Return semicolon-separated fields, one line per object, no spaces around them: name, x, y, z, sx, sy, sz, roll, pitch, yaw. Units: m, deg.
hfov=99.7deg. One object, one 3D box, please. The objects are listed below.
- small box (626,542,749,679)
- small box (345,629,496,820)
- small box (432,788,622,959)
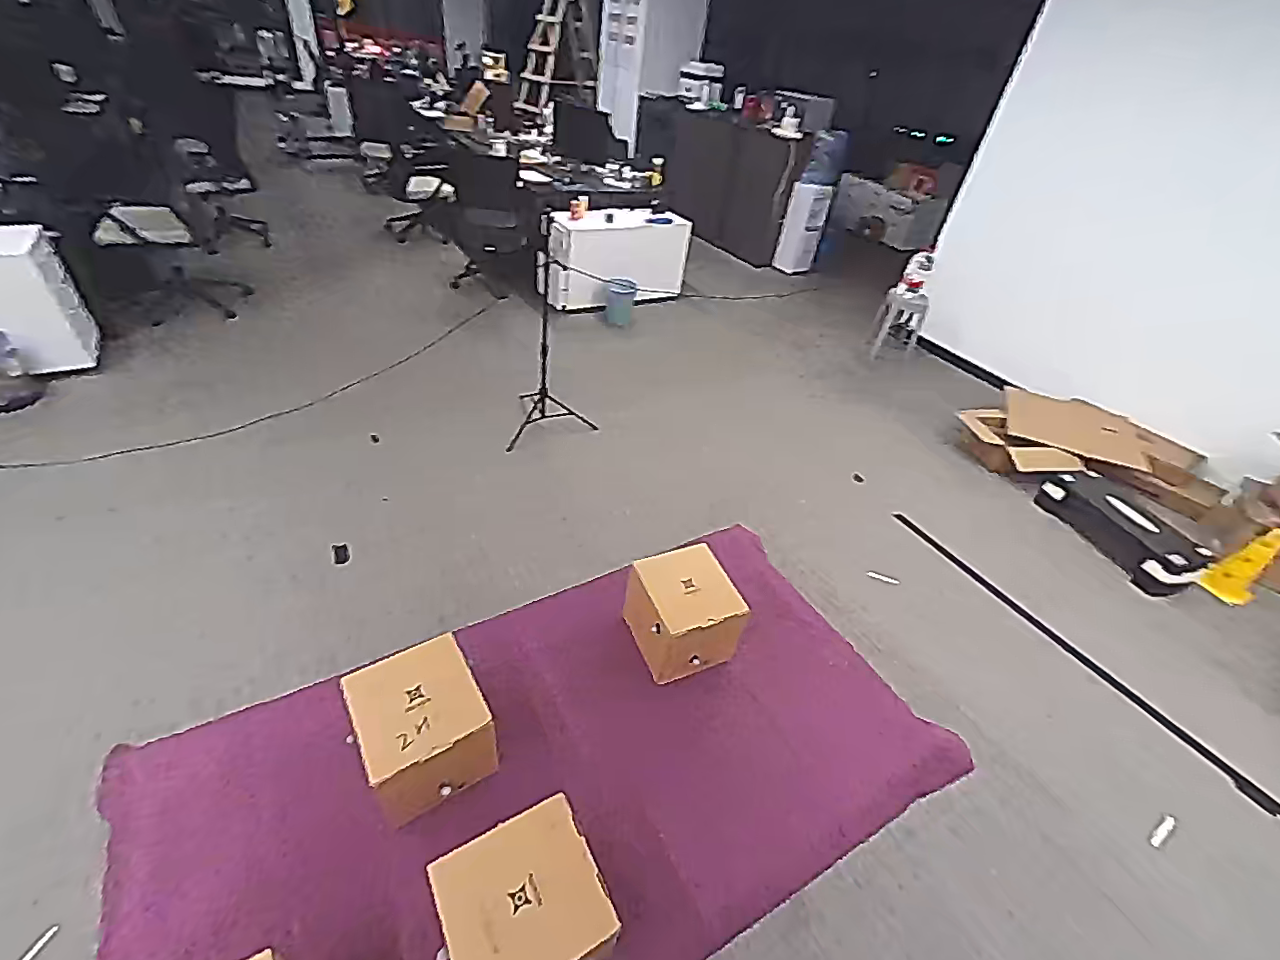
small box;0.082;0.253;1.059;0.168;0.176;0.179;-12;45;-23
small box;-0.333;0.373;0.832;0.168;0.176;0.179;-19;47;-30
small box;-0.144;0.532;0.672;0.179;0.176;0.168;-15;45;-28
